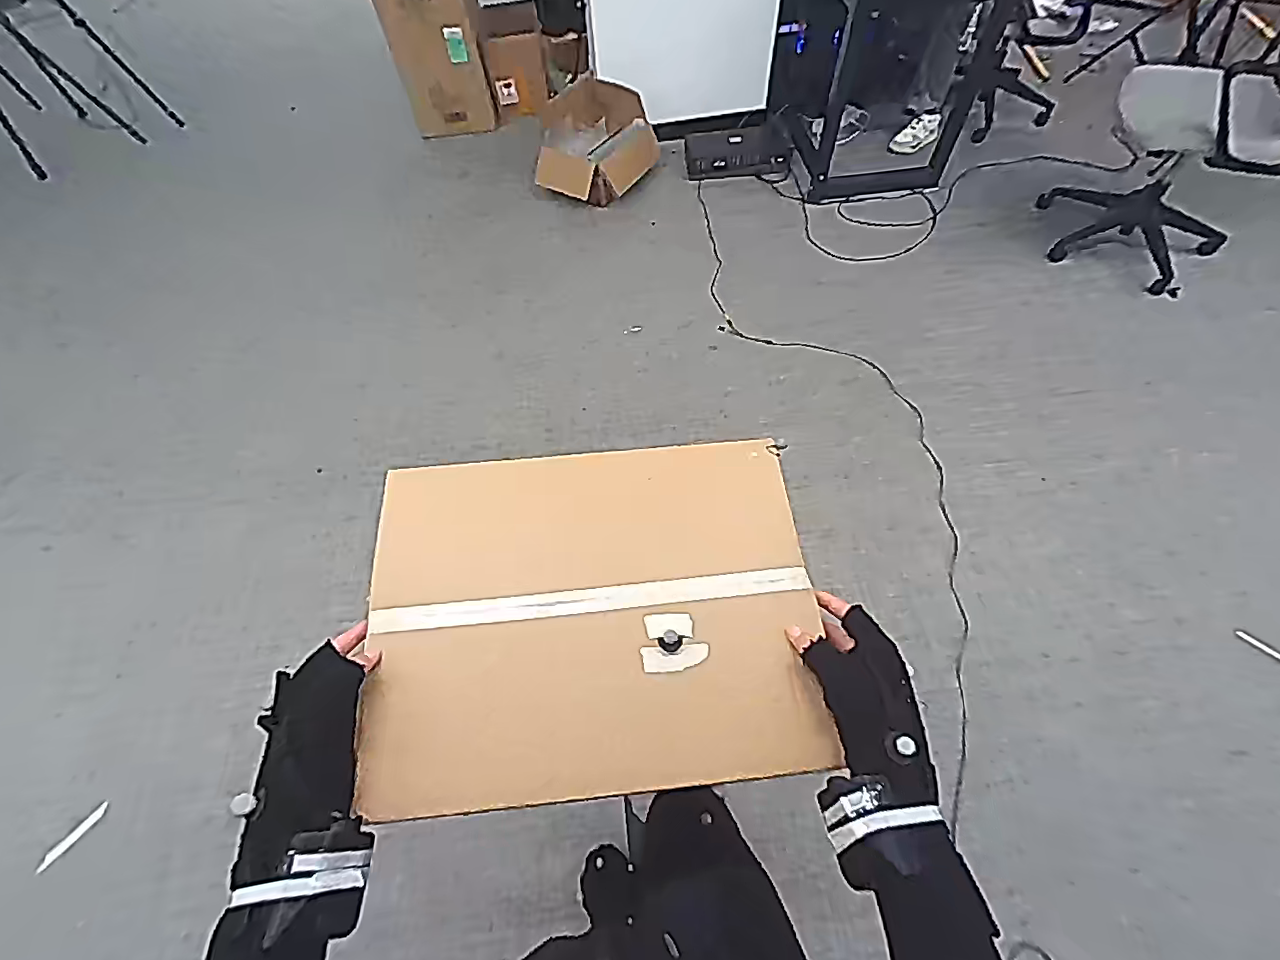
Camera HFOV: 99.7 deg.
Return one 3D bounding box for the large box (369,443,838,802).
[{"bbox_3d":[-0.043,0.179,0.650,0.408,0.320,0.320,-4,63,-3],"label":"large box"}]
